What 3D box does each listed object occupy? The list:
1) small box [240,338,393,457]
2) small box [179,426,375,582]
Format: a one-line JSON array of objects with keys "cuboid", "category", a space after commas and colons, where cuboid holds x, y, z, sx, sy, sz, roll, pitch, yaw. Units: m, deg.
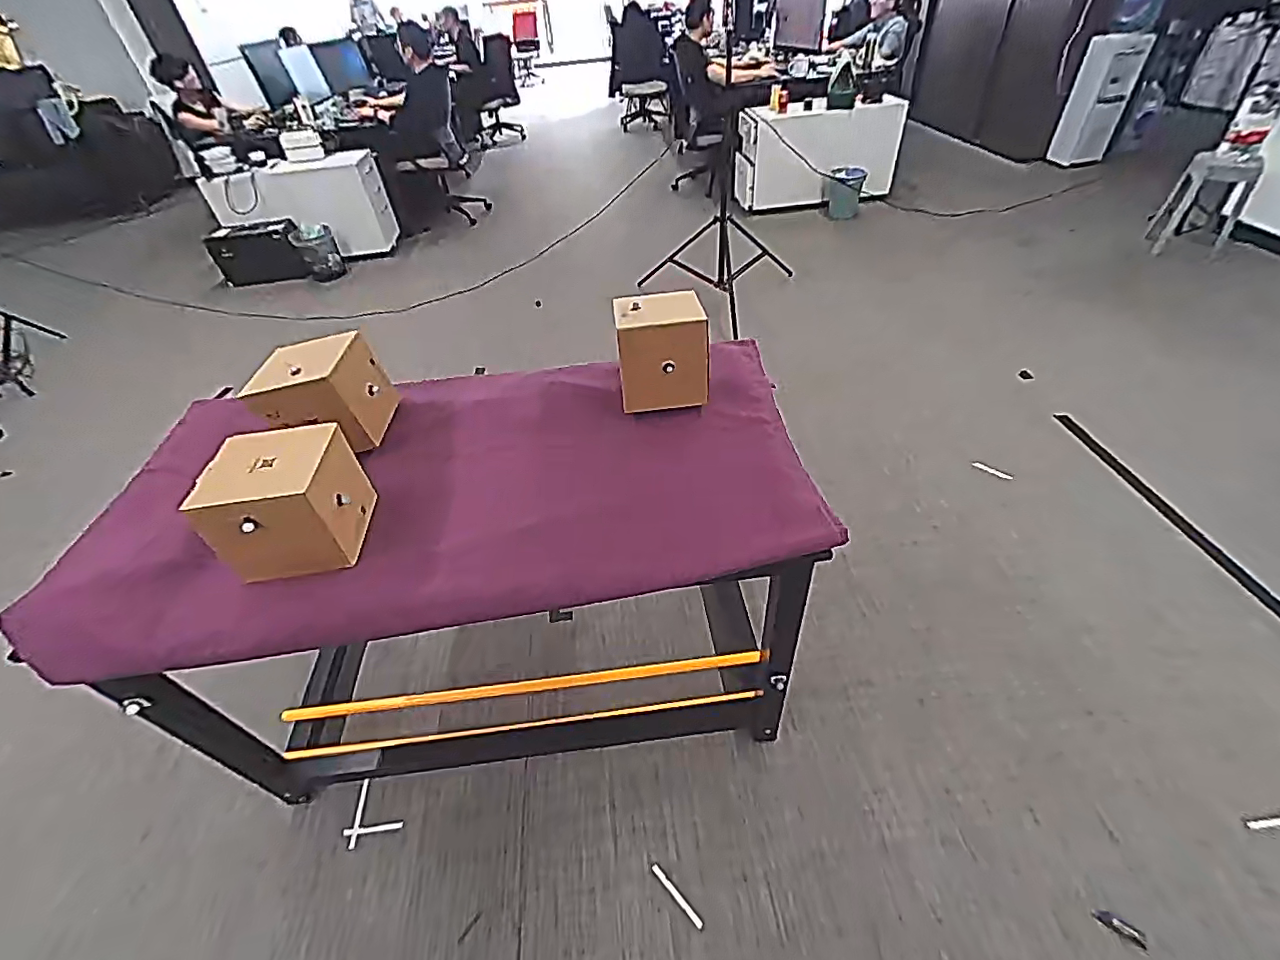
[{"cuboid": [-0.601, -0.153, 1.040, 0.179, 0.168, 0.176, -11, 42, 6], "category": "small box"}, {"cuboid": [-0.546, 0.039, 0.850, 0.179, 0.176, 0.168, -8, 43, -2], "category": "small box"}]
